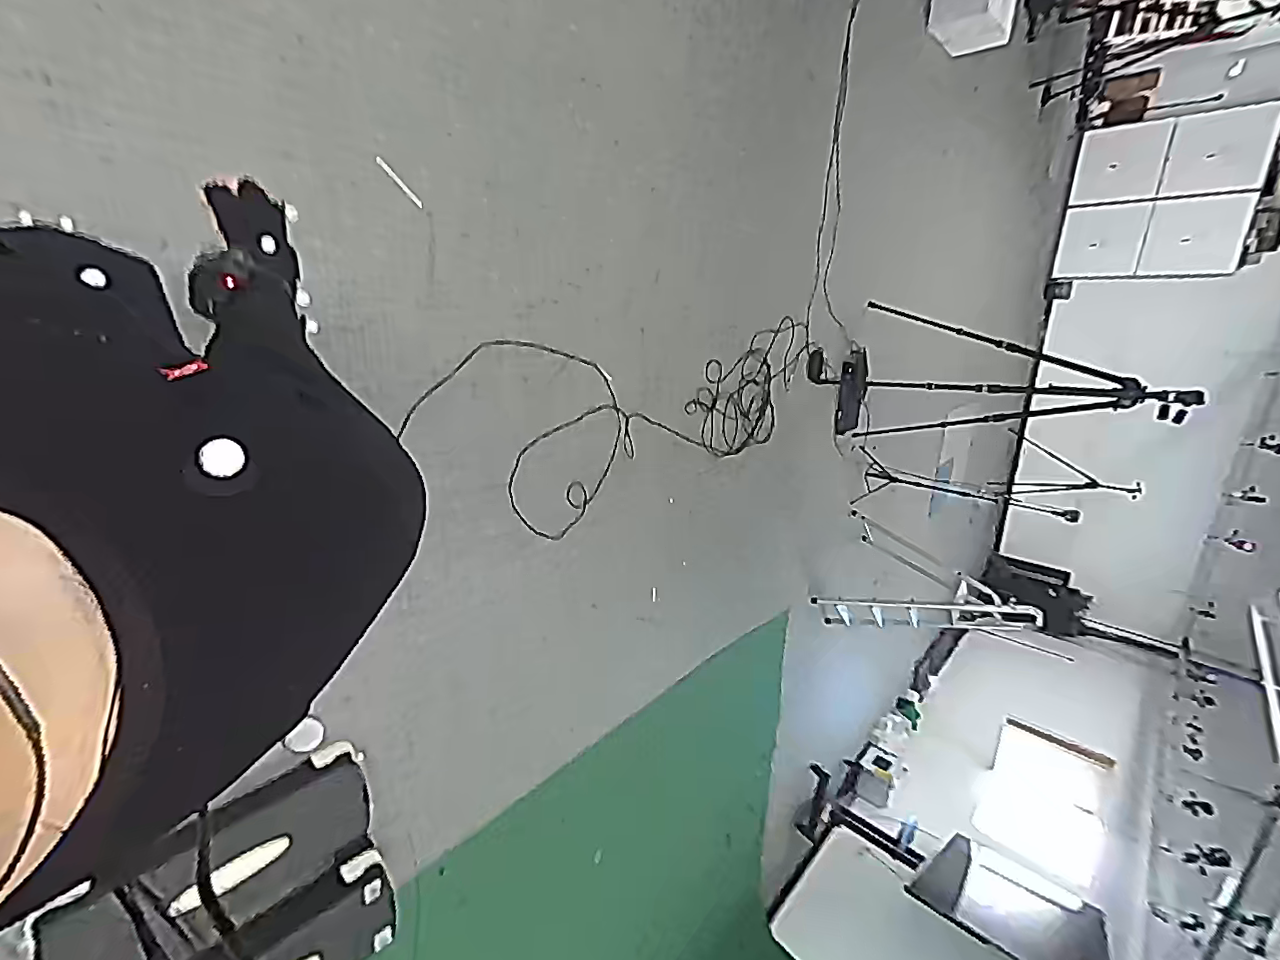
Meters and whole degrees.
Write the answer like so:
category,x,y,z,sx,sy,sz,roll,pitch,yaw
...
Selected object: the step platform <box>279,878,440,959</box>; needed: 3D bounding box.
category,x,y,z,sx,sy,sz,roll,pitch,yaw
step platform,-0.869,1.369,1.350,0.684,0.204,0.286,-18,115,-45
